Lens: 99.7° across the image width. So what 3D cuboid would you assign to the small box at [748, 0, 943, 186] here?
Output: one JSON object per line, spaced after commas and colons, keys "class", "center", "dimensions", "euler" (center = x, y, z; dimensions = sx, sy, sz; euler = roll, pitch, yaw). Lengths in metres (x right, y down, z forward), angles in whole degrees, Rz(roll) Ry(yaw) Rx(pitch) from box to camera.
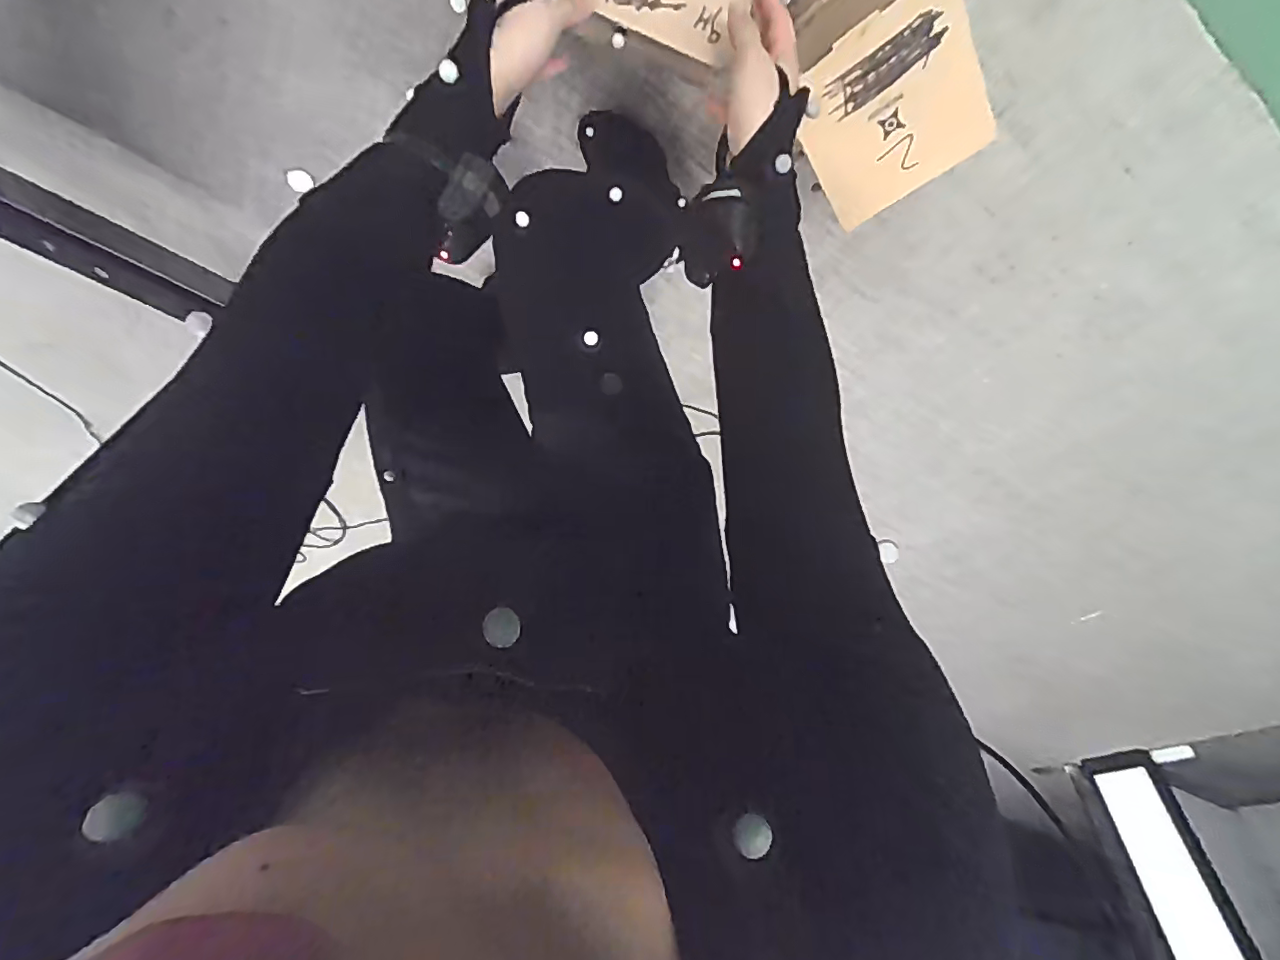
{"class": "small box", "center": [0.262, -0.545, 0.717], "dimensions": [0.179, 0.176, 0.168], "euler": [34, 131, -28]}
